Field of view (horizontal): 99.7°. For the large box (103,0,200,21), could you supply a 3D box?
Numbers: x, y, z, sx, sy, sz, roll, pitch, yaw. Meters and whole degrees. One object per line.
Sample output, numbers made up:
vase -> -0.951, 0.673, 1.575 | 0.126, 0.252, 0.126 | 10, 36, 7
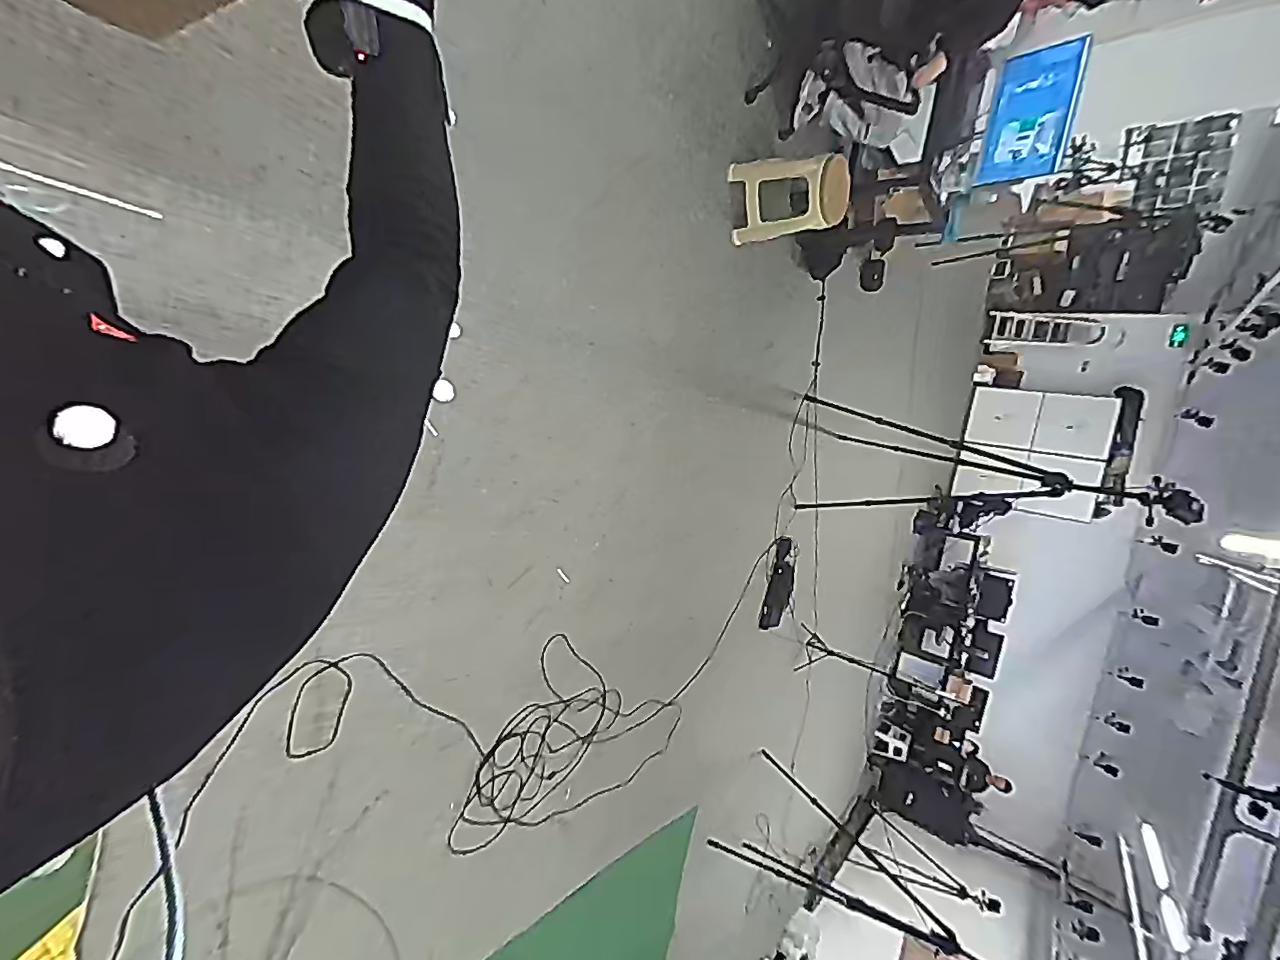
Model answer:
large box -> -0.440, -0.526, 0.253 | 0.408, 0.320, 0.320 | -6, 114, -54
